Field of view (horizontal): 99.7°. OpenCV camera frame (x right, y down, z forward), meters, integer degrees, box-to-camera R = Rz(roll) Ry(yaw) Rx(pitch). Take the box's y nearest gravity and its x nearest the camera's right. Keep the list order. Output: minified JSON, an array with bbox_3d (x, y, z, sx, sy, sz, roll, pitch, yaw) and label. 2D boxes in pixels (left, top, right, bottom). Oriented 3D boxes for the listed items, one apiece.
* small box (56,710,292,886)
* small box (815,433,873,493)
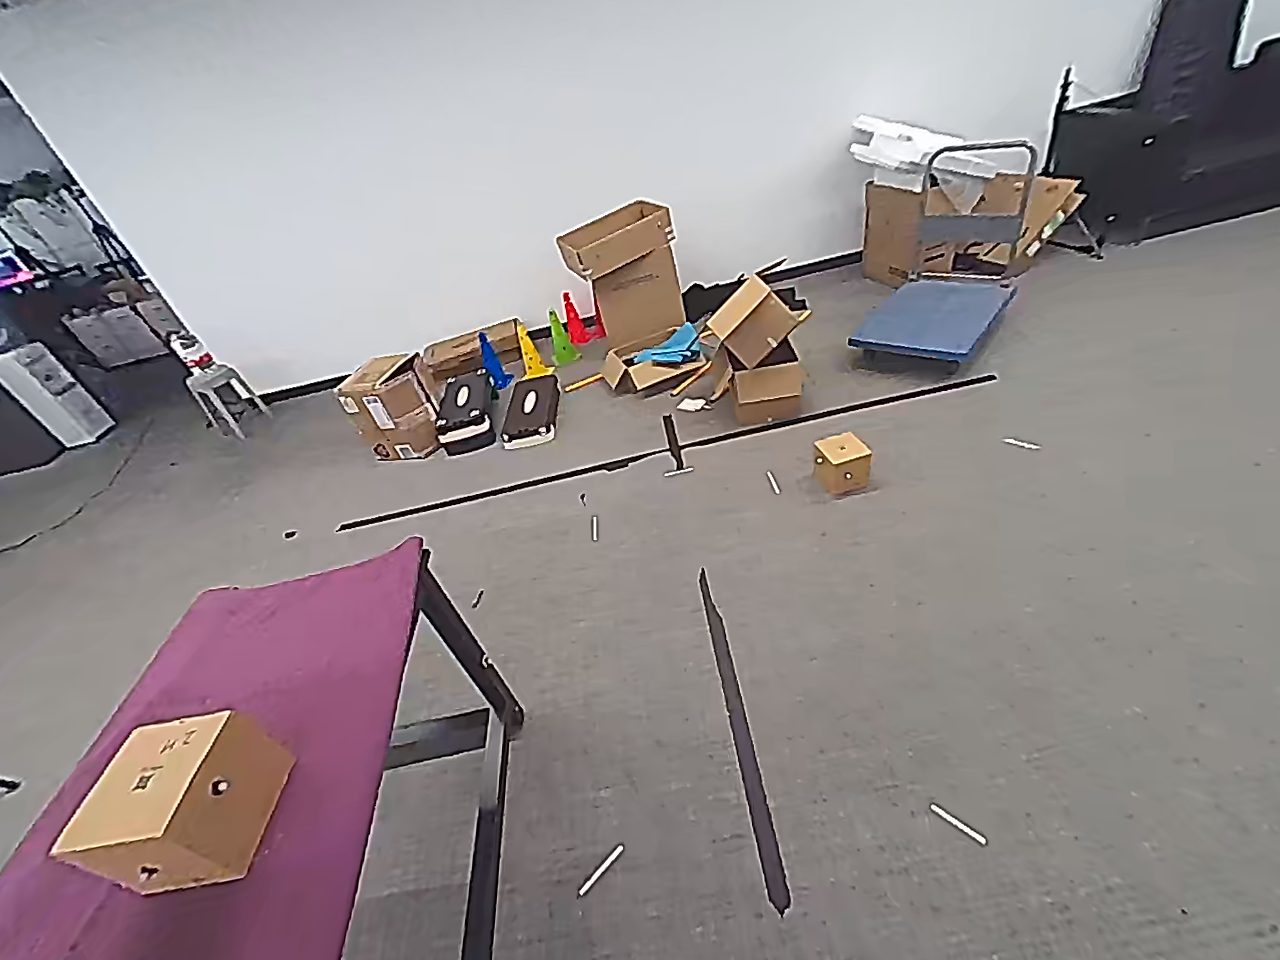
[{"bbox_3d":[-0.672,0.481,0.812,0.168,0.176,0.179,-11,37,5],"label":"small box"},{"bbox_3d":[0.841,-0.063,2.233,0.168,0.176,0.179,-17,36,-3],"label":"small box"}]
